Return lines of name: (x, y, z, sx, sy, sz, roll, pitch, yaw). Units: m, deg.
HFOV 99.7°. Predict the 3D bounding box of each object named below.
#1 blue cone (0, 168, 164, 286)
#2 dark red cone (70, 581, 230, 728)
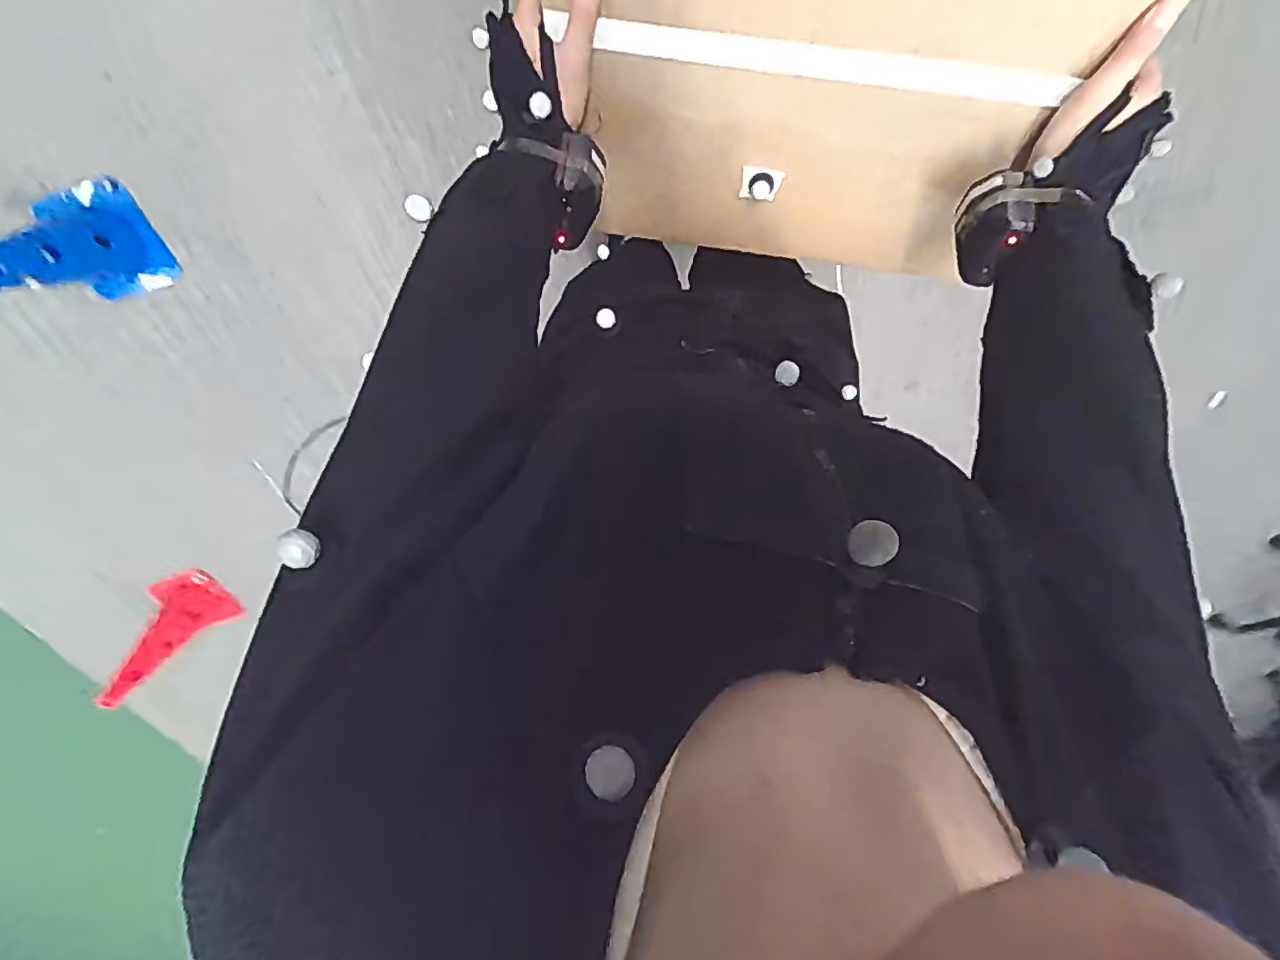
blue cone: (-1.081, -0.416, 0.951, 0.193, 0.380, 0.192, -14, 121, 5)
dark red cone: (-1.330, 0.468, 1.438, 0.201, 0.394, 0.202, -19, 121, 11)
